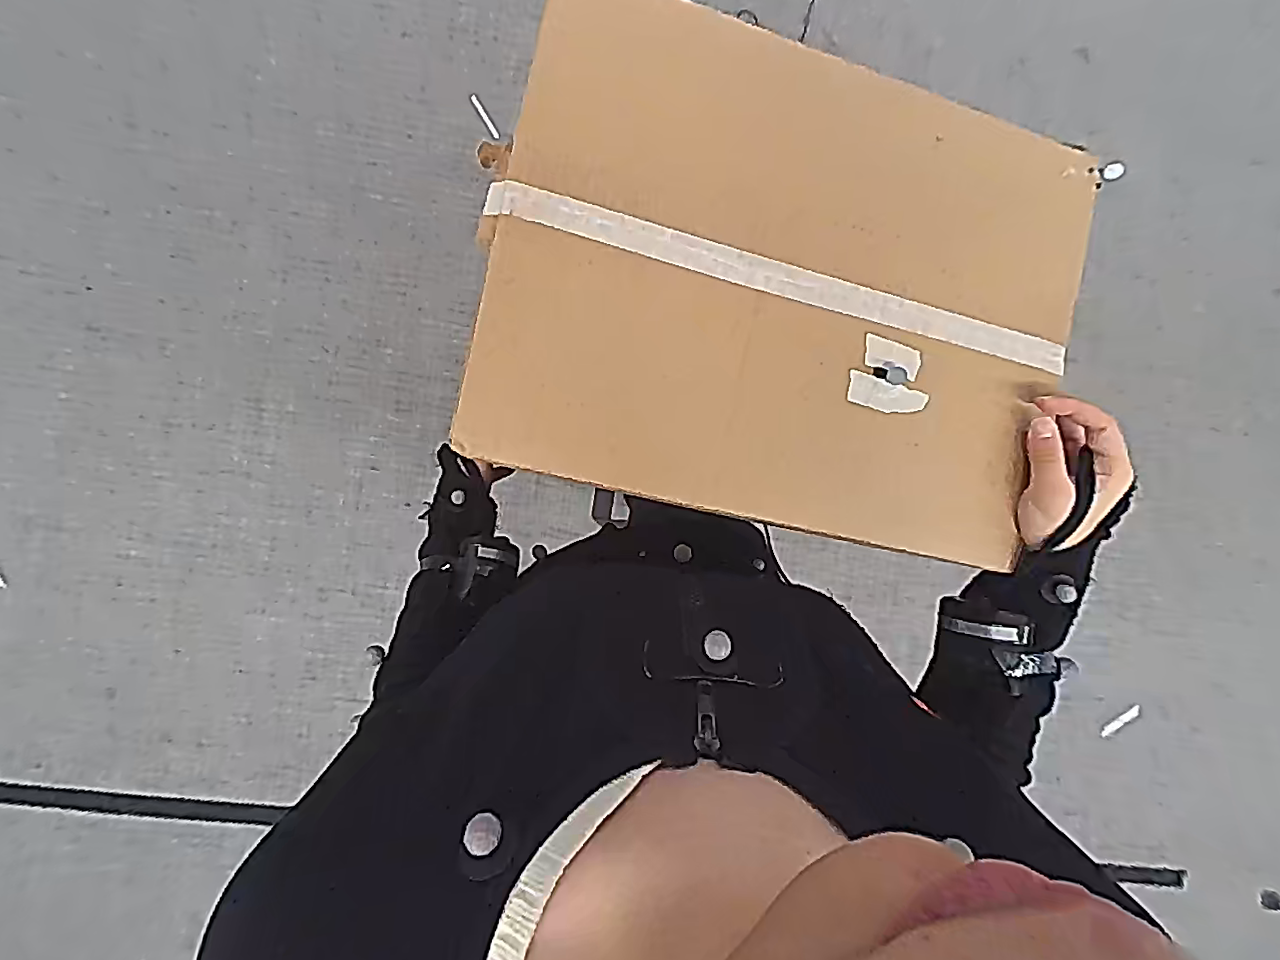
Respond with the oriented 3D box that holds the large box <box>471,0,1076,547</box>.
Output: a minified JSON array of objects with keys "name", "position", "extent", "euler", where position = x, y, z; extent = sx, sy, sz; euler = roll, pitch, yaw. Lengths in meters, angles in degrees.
[{"name":"large box","position":[0.084,-0.137,0.514],"extent":[0.408,0.320,0.320],"euler":[12,89,-11]}]
